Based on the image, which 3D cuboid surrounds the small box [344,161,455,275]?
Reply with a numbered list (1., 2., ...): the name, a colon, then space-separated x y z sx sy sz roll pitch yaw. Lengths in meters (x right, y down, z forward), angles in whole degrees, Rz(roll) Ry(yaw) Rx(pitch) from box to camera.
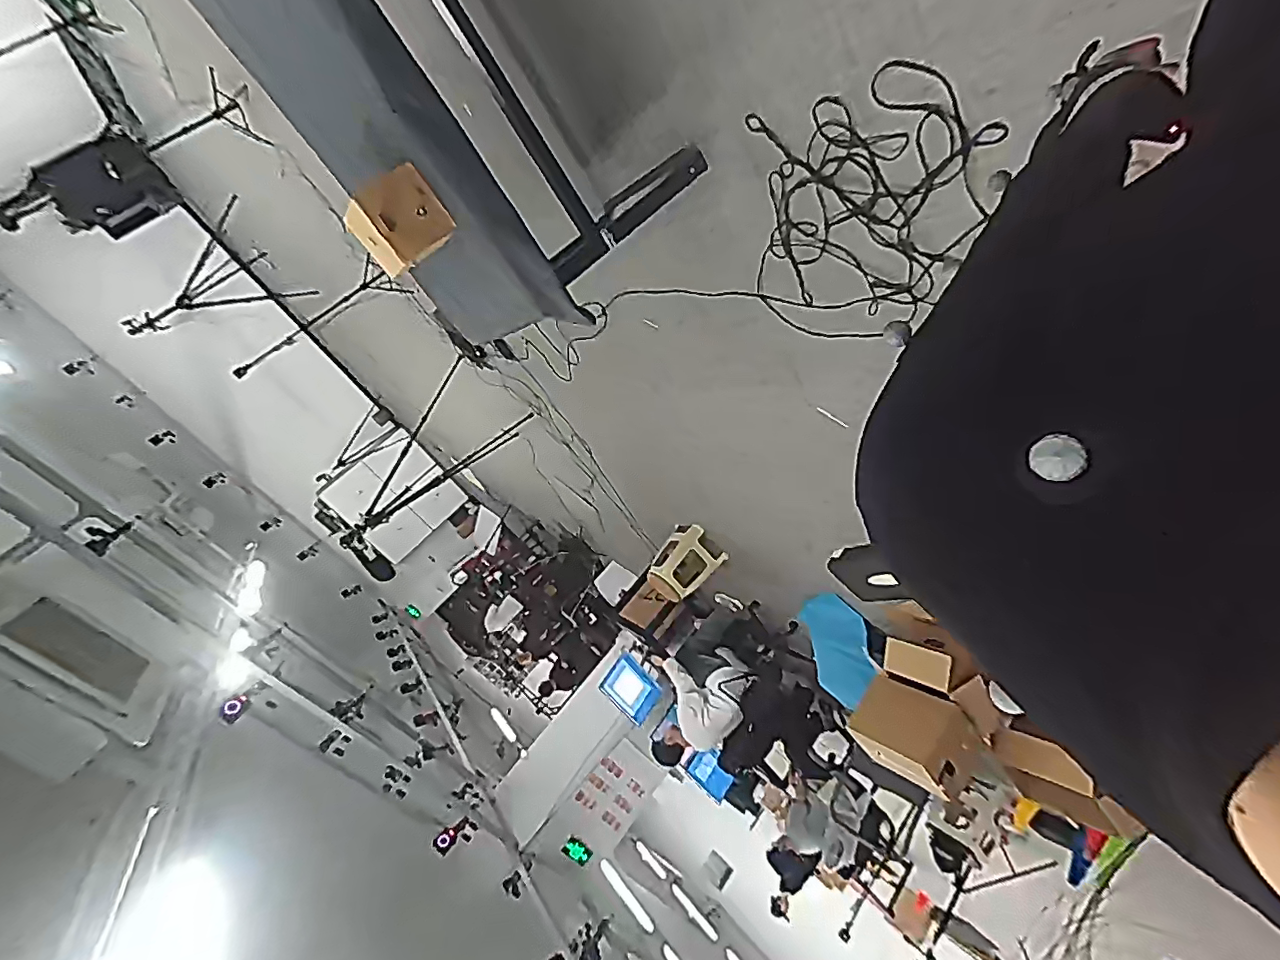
1. small box: -0.576 -0.626 1.303 0.179 0.176 0.168 10 141 55
